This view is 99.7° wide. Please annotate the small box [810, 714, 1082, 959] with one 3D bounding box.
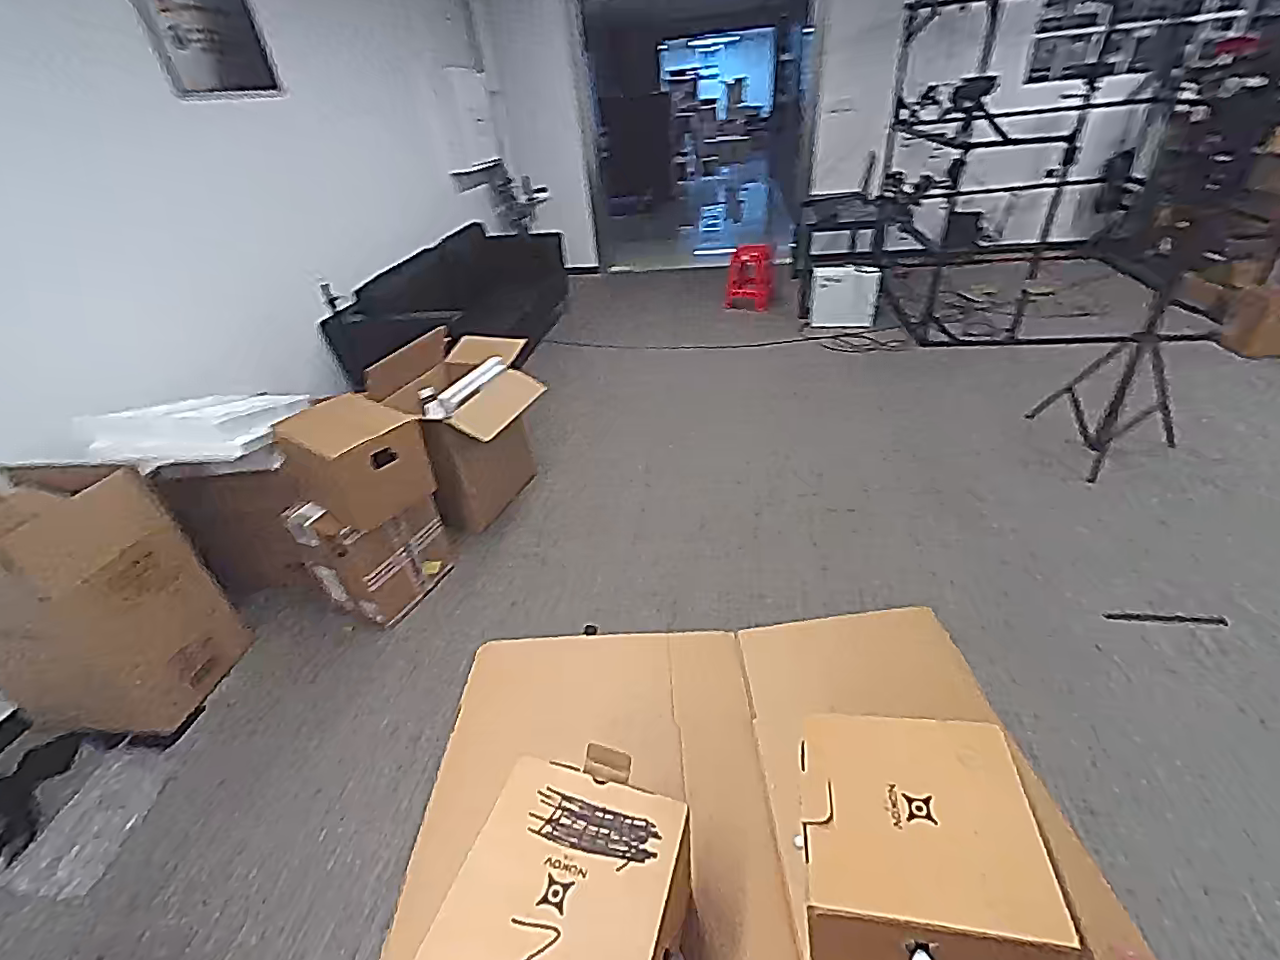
[{"bbox_3d":[0.251,0.344,0.494,0.179,0.176,0.168,-4,32,17],"label":"small box"}]
